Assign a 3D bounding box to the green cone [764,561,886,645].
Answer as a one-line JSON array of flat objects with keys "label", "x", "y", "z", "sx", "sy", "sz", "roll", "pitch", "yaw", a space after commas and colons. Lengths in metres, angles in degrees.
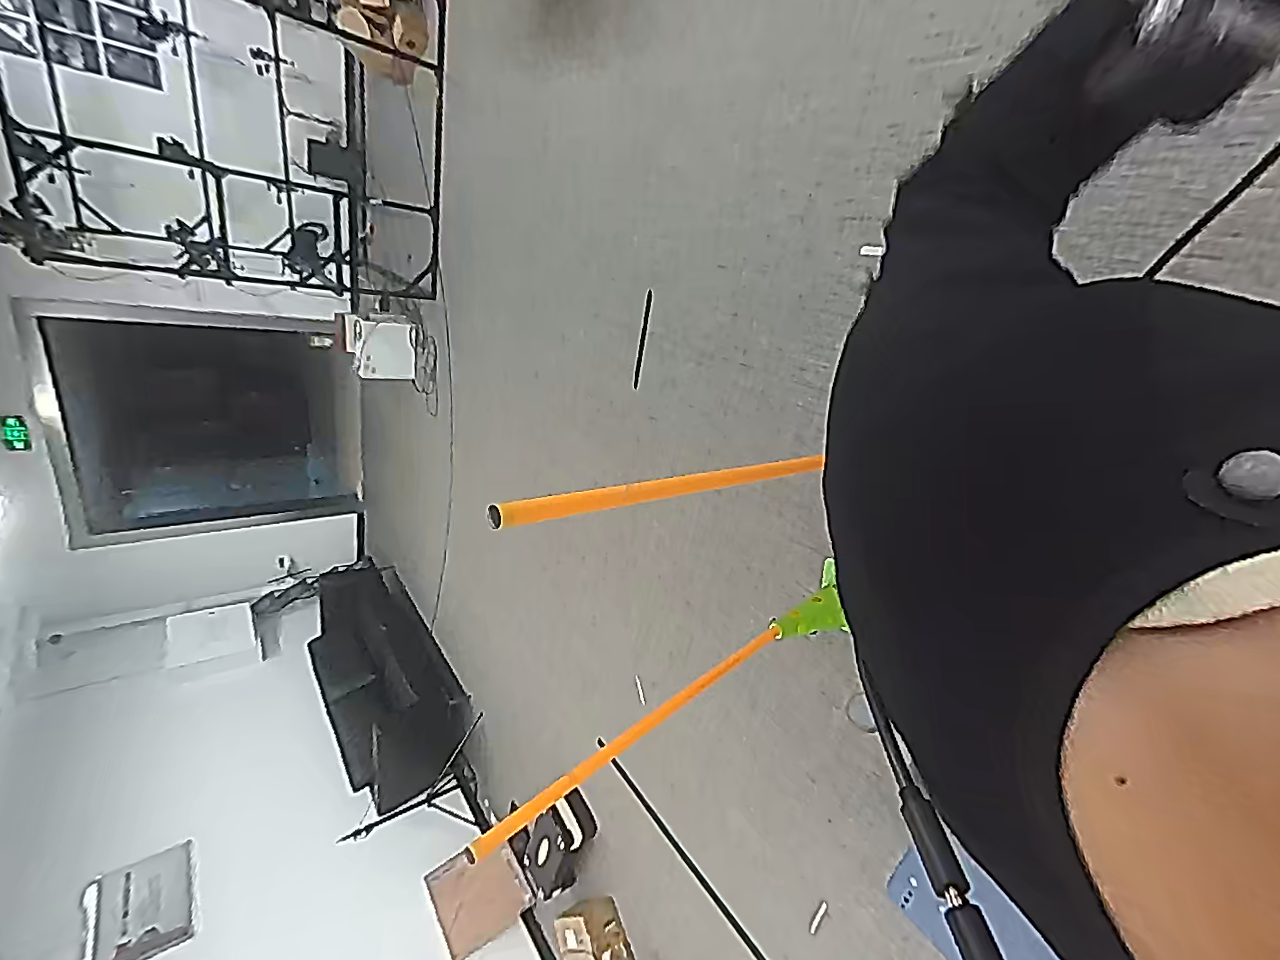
[{"label": "green cone", "x": 0.463, "y": 0.360, "z": 1.437, "sx": 0.200, "sy": 0.368, "sz": 0.202, "roll": 16, "pitch": 107, "yaw": 50}]
